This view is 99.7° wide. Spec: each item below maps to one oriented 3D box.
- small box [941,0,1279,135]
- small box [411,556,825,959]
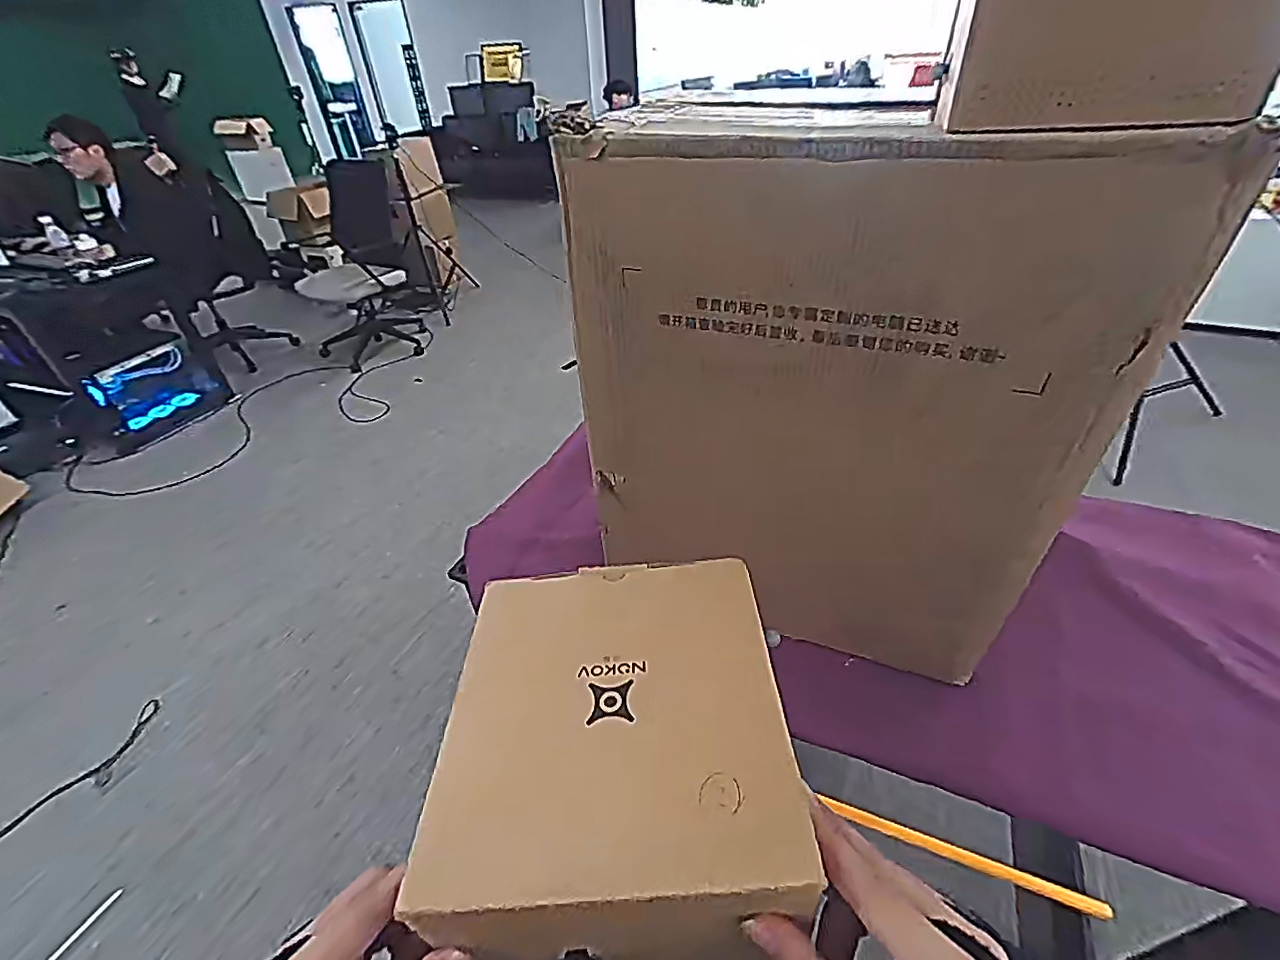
[{"bbox_3d":[0.321,-0.346,0.372,0.179,0.176,0.168,10,41,18],"label":"small box"},{"bbox_3d":[-0.002,0.172,0.318,0.168,0.176,0.179,-6,35,2],"label":"small box"}]
